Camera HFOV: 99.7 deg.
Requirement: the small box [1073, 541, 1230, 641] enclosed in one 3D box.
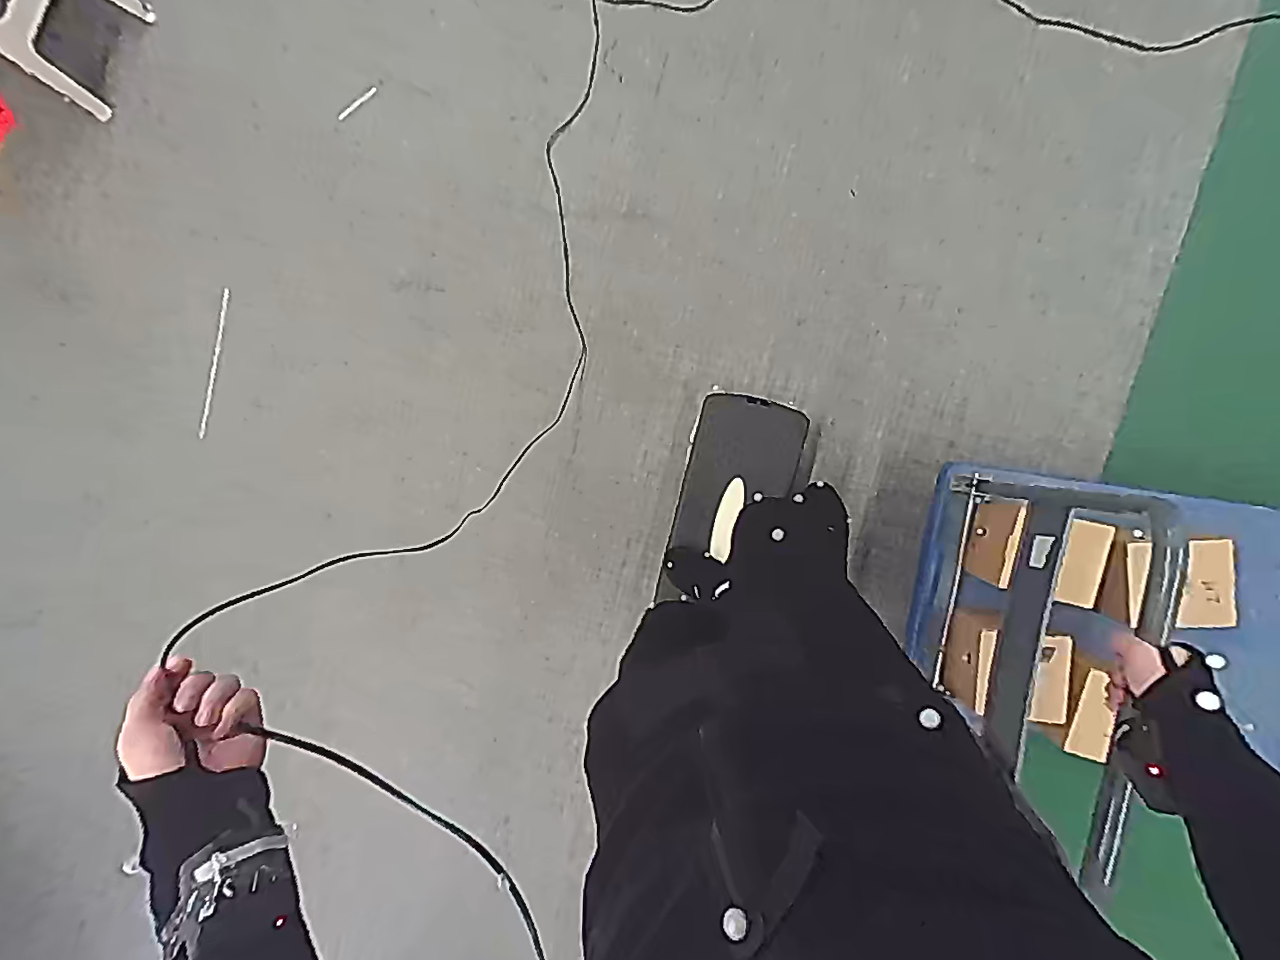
[{"bbox_3d":[1.012,0.217,1.087,0.179,0.176,0.168,-3,92,9],"label":"small box"}]
